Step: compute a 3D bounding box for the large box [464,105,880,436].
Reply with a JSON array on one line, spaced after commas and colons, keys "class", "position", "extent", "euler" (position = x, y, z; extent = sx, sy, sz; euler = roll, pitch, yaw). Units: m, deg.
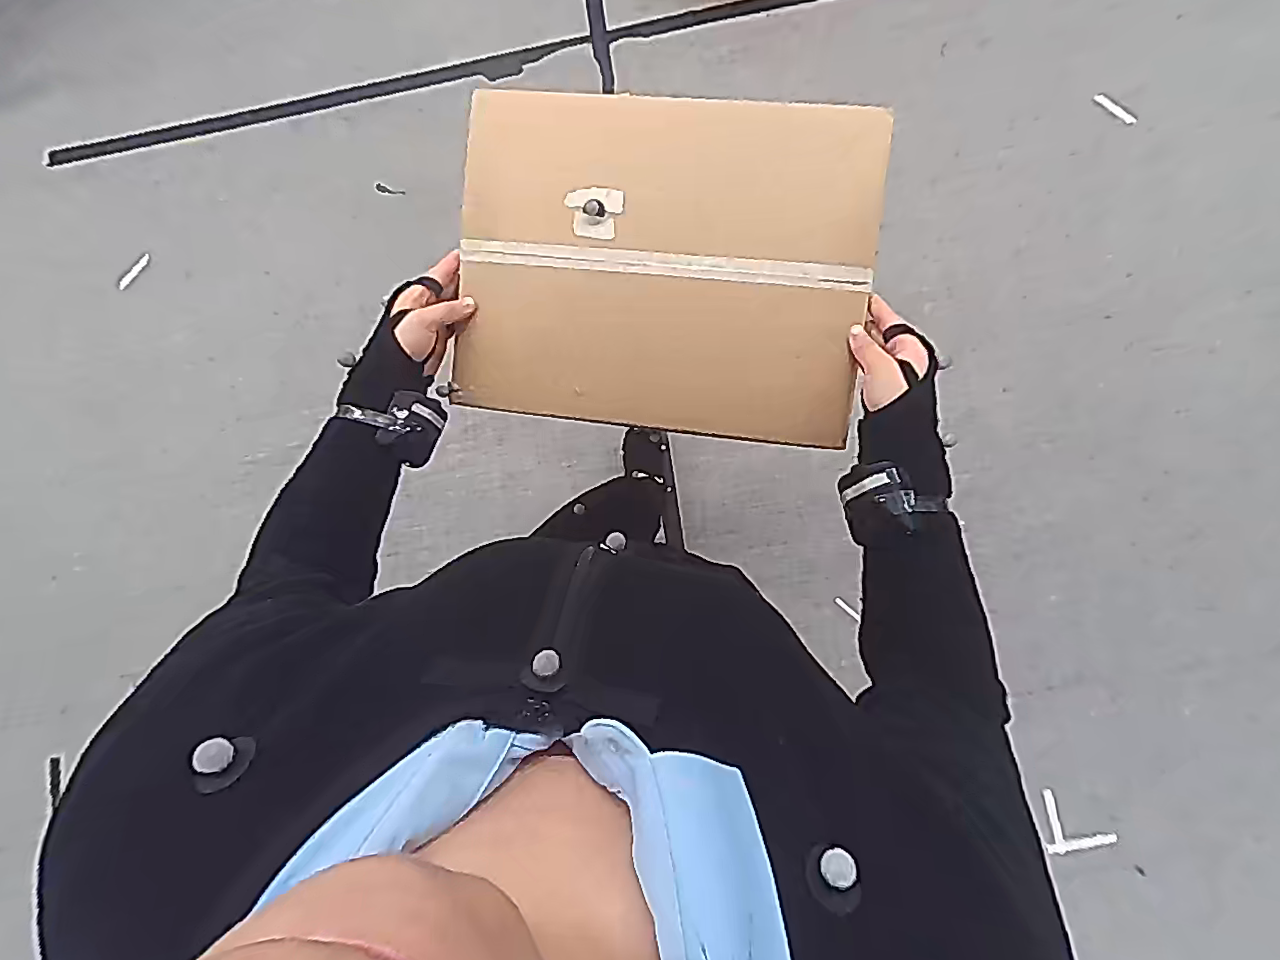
[{"class": "large box", "position": [0.040, -0.226, 0.691], "extent": [0.408, 0.320, 0.320], "euler": [7, 94, 7]}]
